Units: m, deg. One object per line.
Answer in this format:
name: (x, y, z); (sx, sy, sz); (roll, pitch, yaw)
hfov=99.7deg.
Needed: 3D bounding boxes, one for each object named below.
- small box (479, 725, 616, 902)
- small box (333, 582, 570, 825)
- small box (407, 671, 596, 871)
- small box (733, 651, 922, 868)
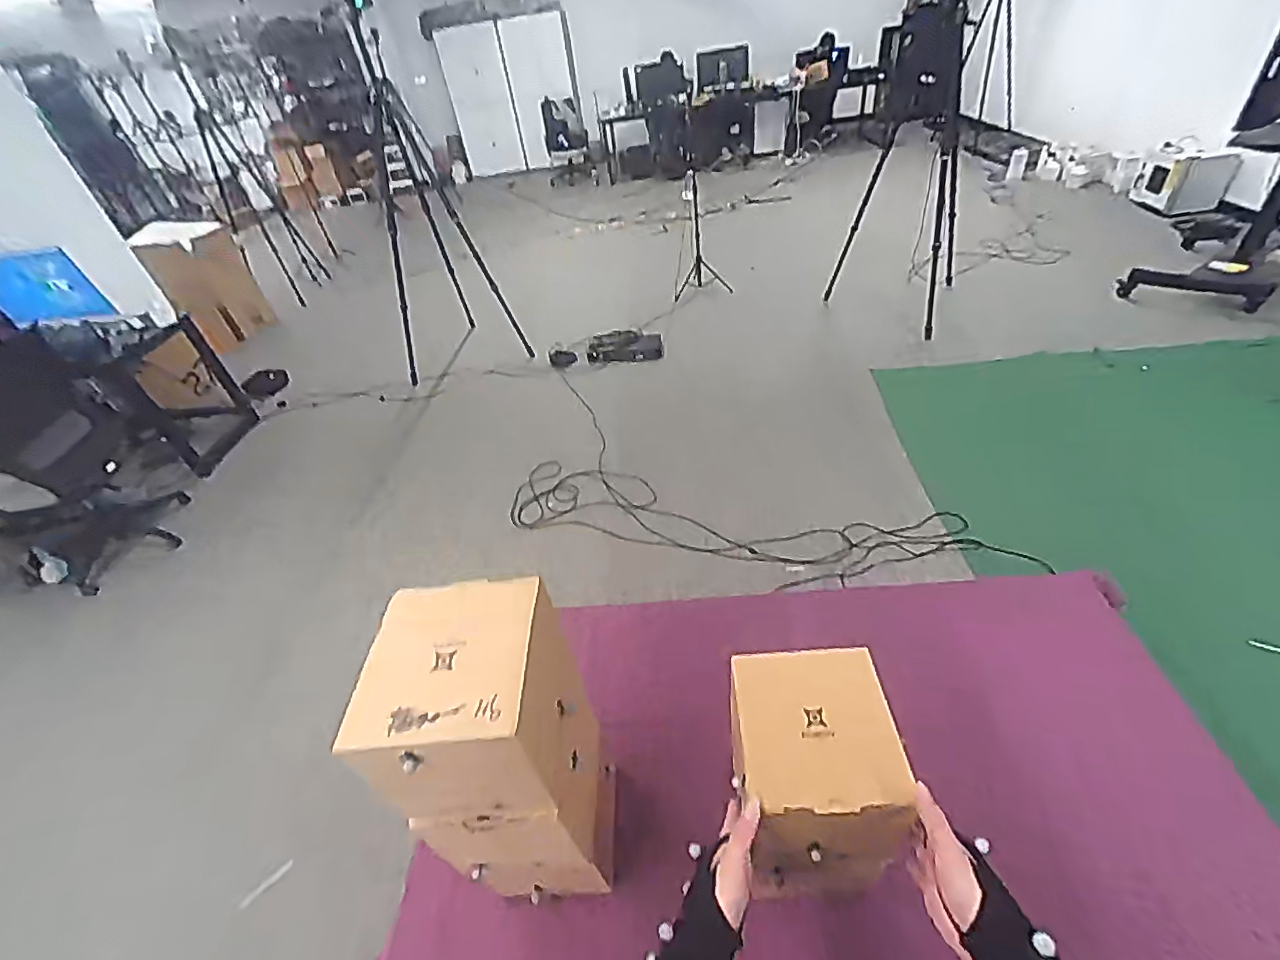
small box: (-0.131, 0.482, 0.783); (0.168, 0.176, 0.179); (-7, 41, 5)
small box: (-0.176, 0.235, 0.574); (0.168, 0.176, 0.179); (-7, 39, 5)
small box: (-0.153, 0.364, 0.672); (0.168, 0.176, 0.179); (-7, 39, 5)
small box: (0.201, 0.328, 0.639); (0.168, 0.176, 0.179); (-6, 40, 5)
